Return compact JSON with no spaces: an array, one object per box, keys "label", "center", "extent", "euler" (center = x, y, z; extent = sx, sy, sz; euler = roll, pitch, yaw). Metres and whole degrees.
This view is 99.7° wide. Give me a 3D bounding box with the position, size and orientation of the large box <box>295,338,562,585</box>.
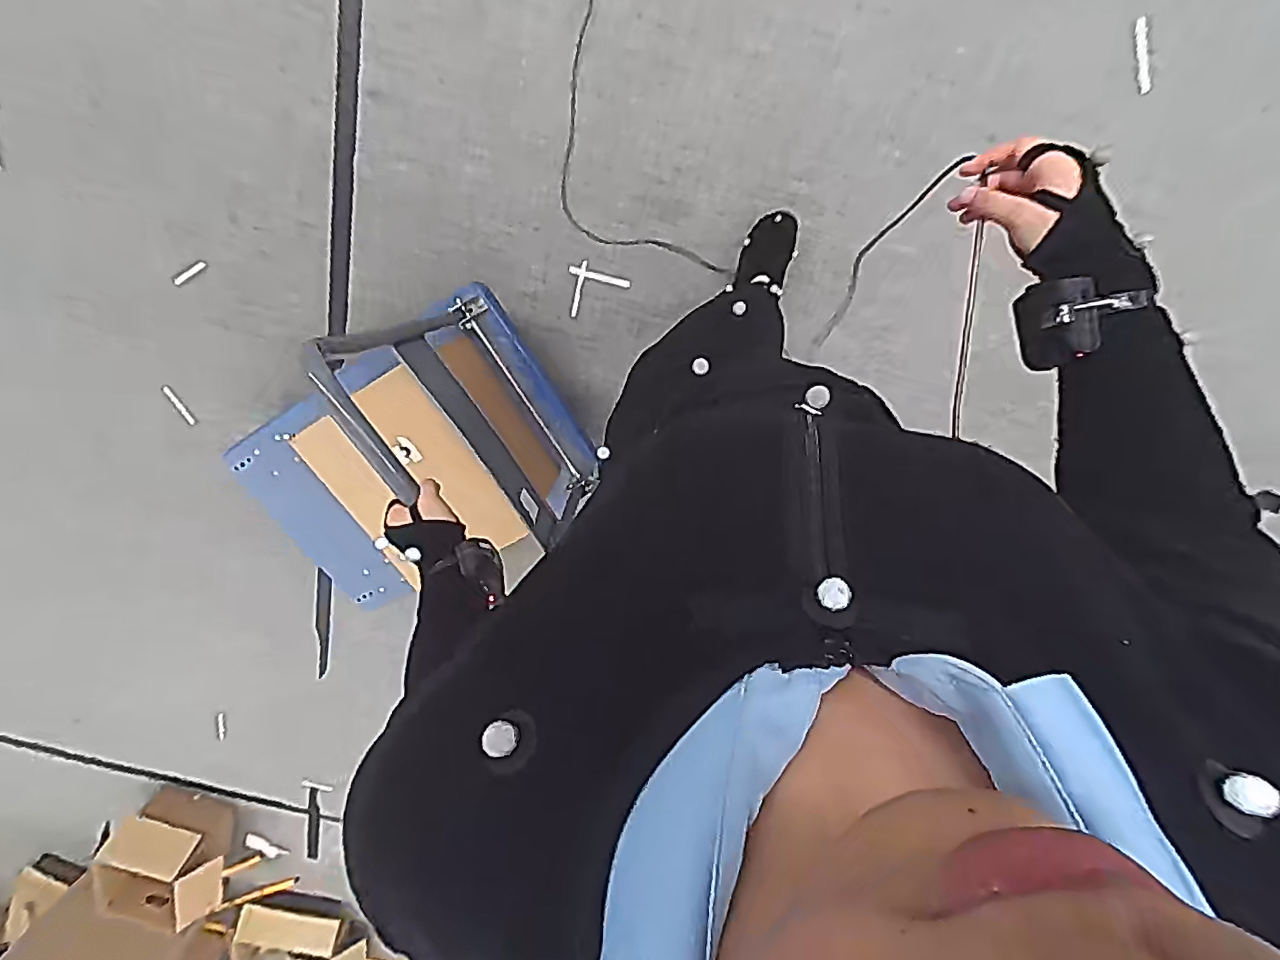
[{"label":"large box","center":[-0.435,-0.050,1.214],"extent":[0.320,0.320,0.408],"euler":[-28,108,14]}]
